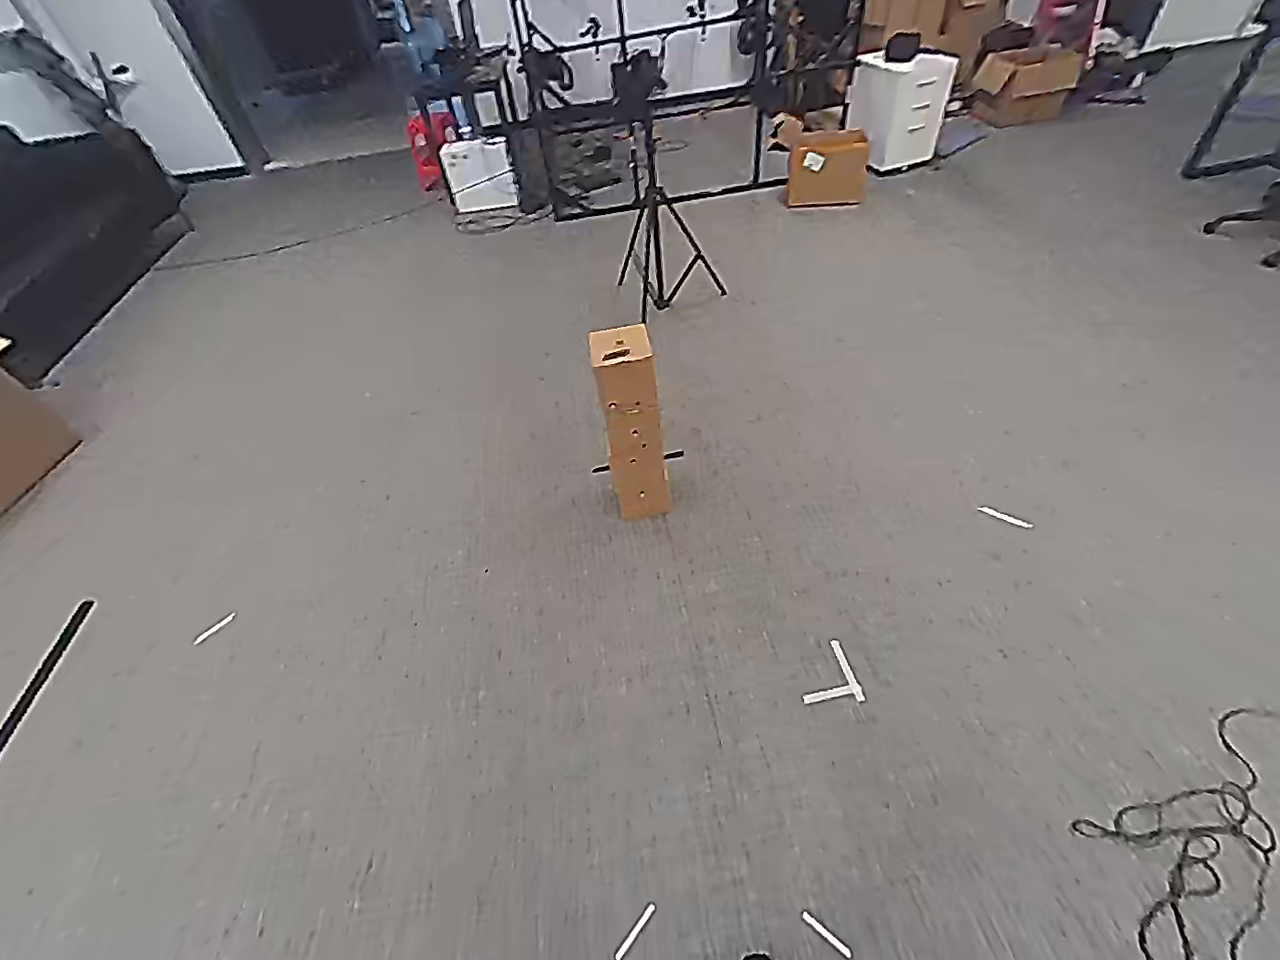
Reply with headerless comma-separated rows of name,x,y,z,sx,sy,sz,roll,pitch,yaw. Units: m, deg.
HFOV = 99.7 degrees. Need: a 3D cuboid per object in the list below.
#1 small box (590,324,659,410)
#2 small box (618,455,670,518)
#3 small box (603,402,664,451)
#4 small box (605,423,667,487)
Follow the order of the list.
small box,-0.043,-0.317,1.546,0.168,0.176,0.179,-10,47,0
small box,0.010,0.014,1.907,0.179,0.176,0.168,-10,48,-1
small box,-0.022,-0.205,1.666,0.168,0.176,0.179,-9,48,0
small box,-0.013,-0.093,1.784,0.179,0.176,0.168,-9,48,1
